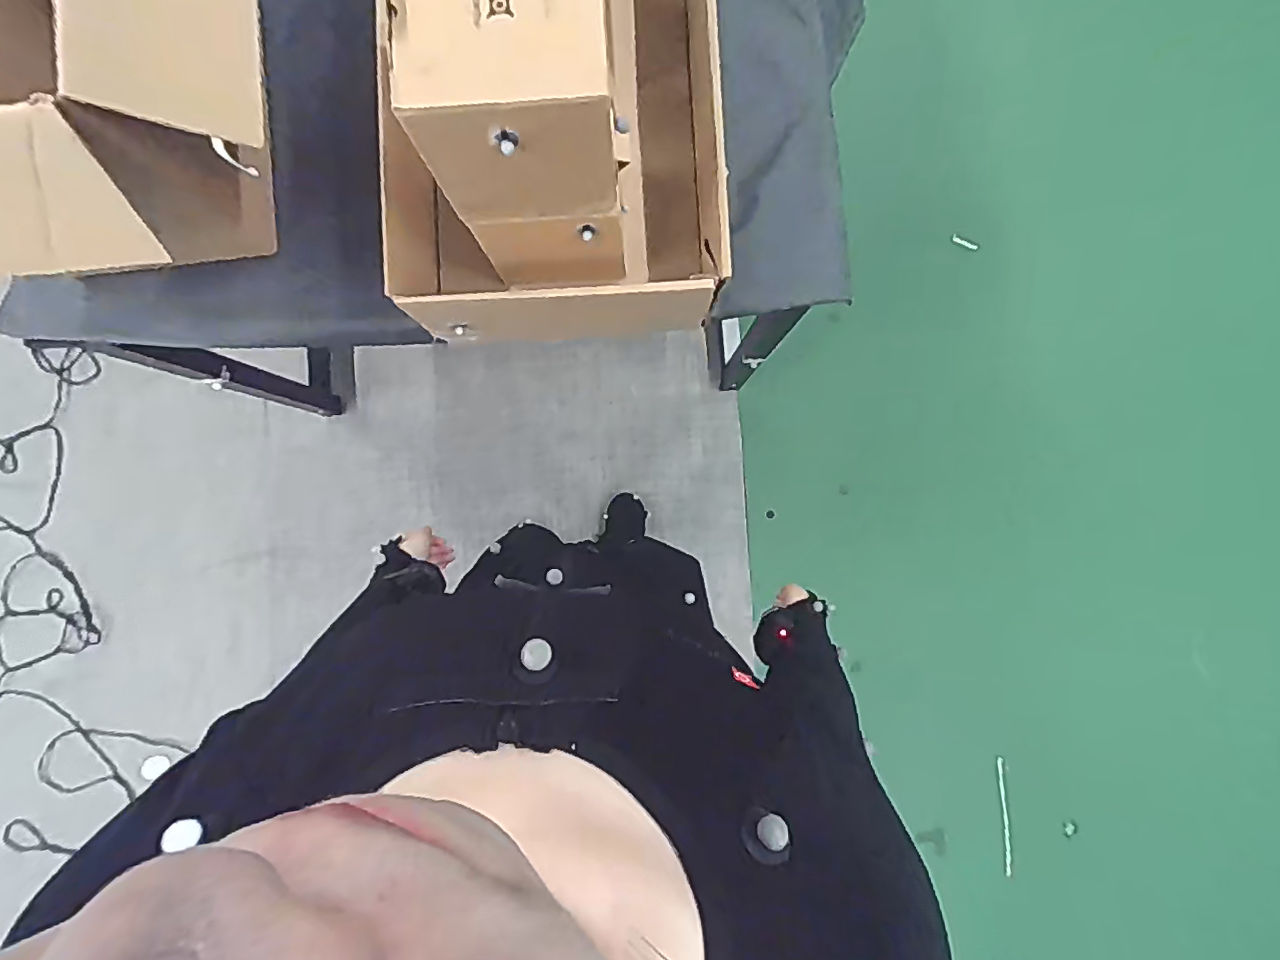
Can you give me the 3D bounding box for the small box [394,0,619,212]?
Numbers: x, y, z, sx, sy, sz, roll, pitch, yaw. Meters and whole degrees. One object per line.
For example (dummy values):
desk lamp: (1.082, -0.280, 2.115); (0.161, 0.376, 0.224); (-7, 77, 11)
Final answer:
small box: (-0.114, -0.379, 0.519); (0.179, 0.176, 0.168); (-4, 89, -1)
